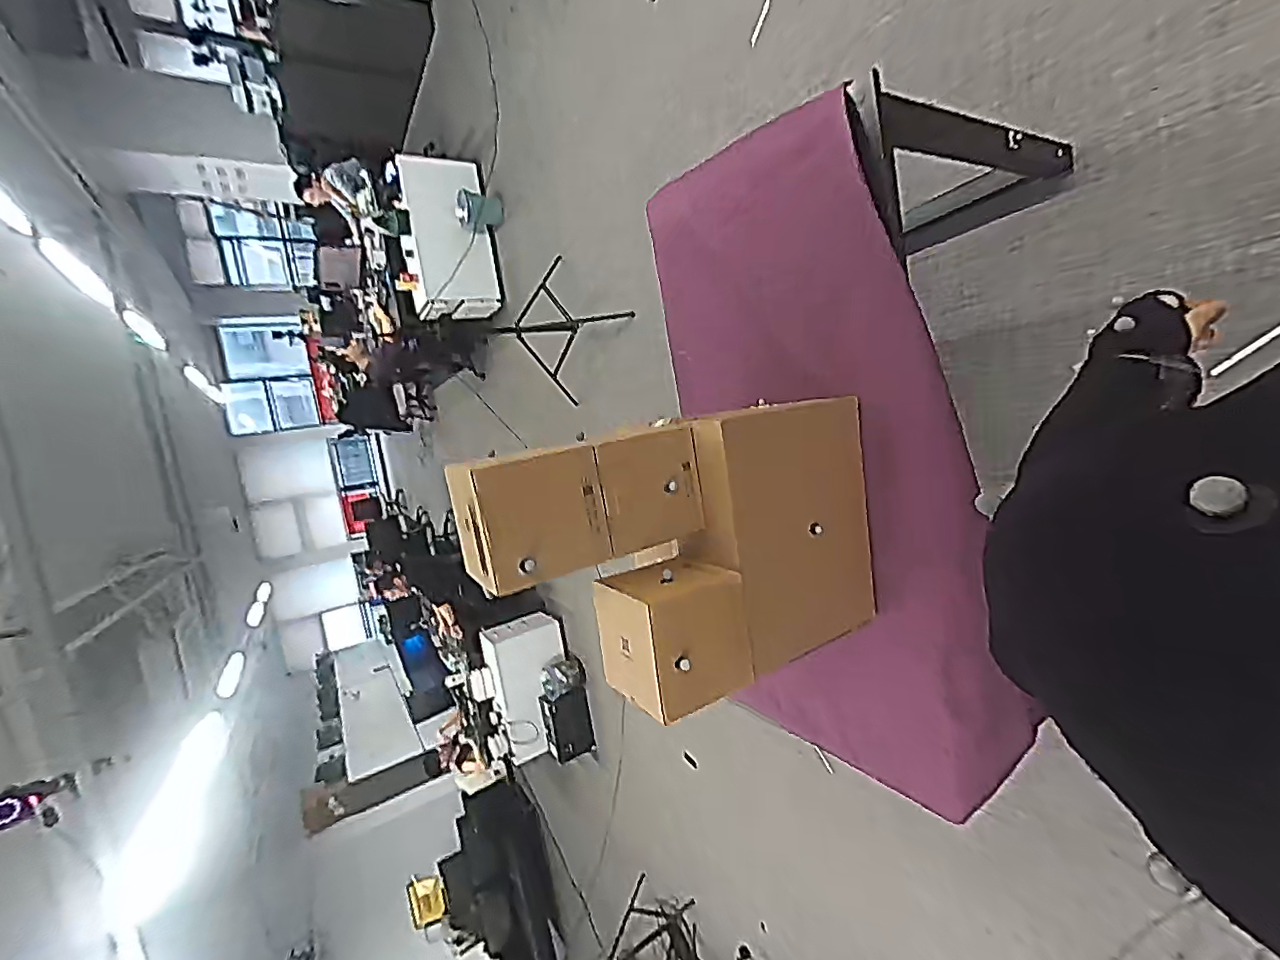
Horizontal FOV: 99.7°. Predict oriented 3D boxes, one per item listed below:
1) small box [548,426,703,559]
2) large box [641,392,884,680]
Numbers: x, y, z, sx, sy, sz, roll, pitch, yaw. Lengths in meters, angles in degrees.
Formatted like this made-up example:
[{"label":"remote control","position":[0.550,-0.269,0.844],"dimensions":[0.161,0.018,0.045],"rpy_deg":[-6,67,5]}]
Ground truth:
[{"label":"small box","position":[-0.024,0.011,0.850],"dimensions":[0.179,0.176,0.168],"rpy_deg":[3,106,59]},{"label":"large box","position":[0.200,0.073,0.987],"dimensions":[0.320,0.320,0.408],"rpy_deg":[3,105,61]}]
